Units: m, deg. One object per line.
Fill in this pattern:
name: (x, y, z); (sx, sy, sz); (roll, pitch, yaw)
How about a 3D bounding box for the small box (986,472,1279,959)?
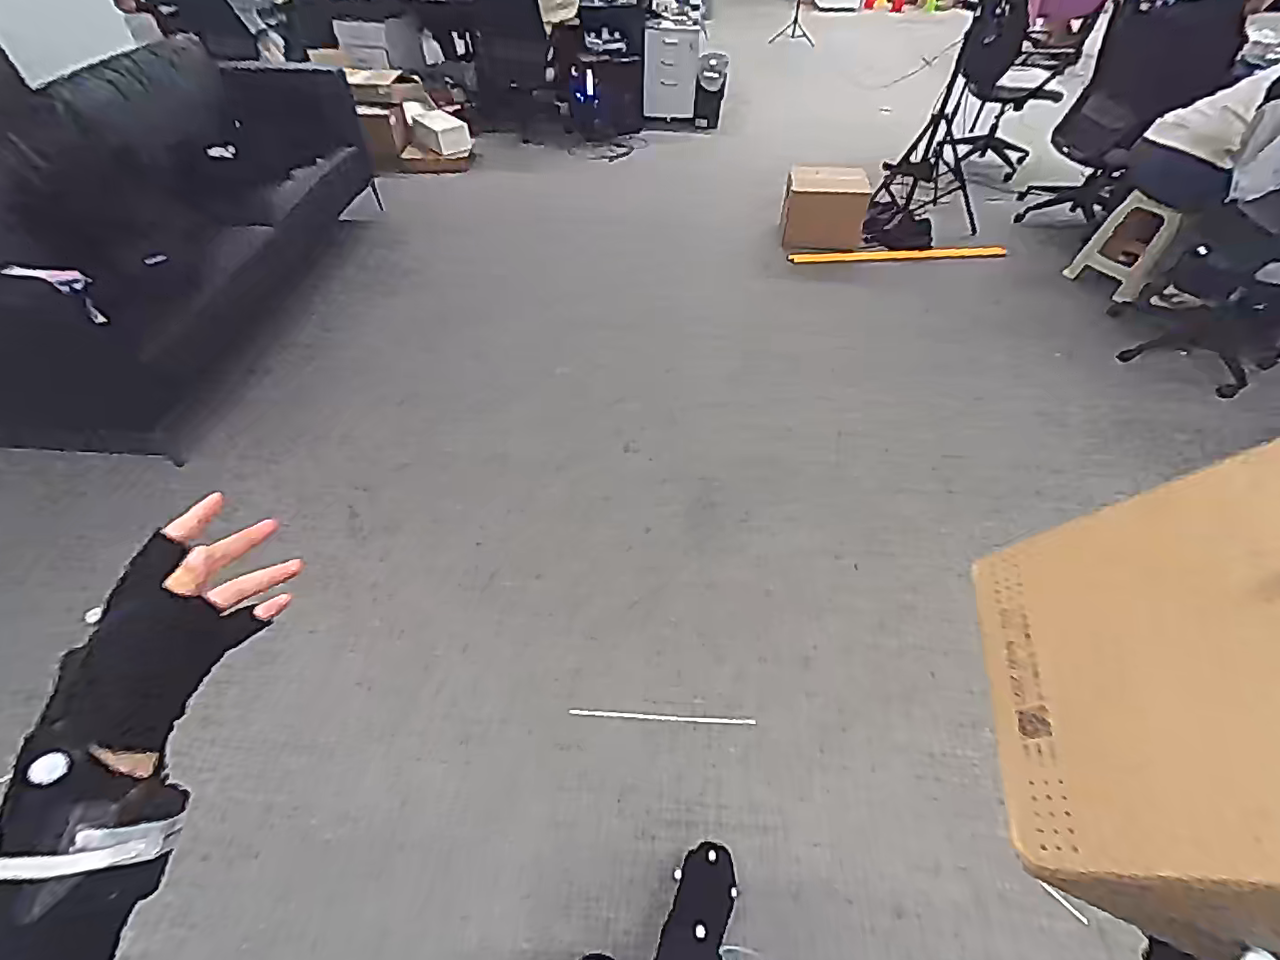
small box: (0.299, 0.114, 0.244); (0.179, 0.176, 0.168); (31, 49, -12)
